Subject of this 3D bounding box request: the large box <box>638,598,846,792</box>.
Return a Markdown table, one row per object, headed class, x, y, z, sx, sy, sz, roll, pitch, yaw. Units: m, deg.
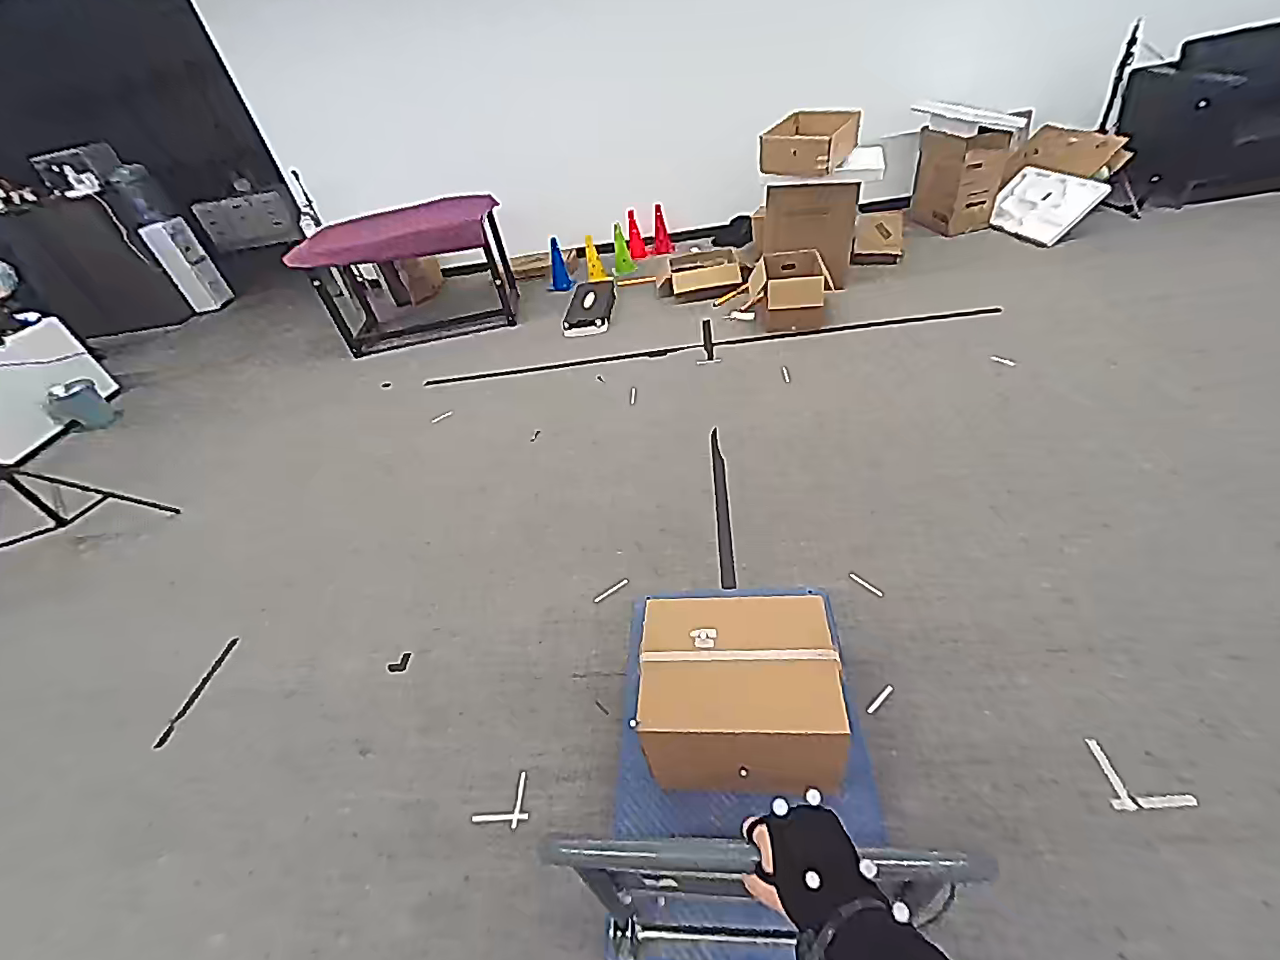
| class | x | y | z | sx | sy | sz | roll | pitch | yaw |
| --- | --- | --- | --- | --- | --- | --- | --- | --- | --- |
| large box | 0.226 | 0.501 | 1.245 | 0.408 | 0.320 | 0.320 | -5 | 40 | 9 |
